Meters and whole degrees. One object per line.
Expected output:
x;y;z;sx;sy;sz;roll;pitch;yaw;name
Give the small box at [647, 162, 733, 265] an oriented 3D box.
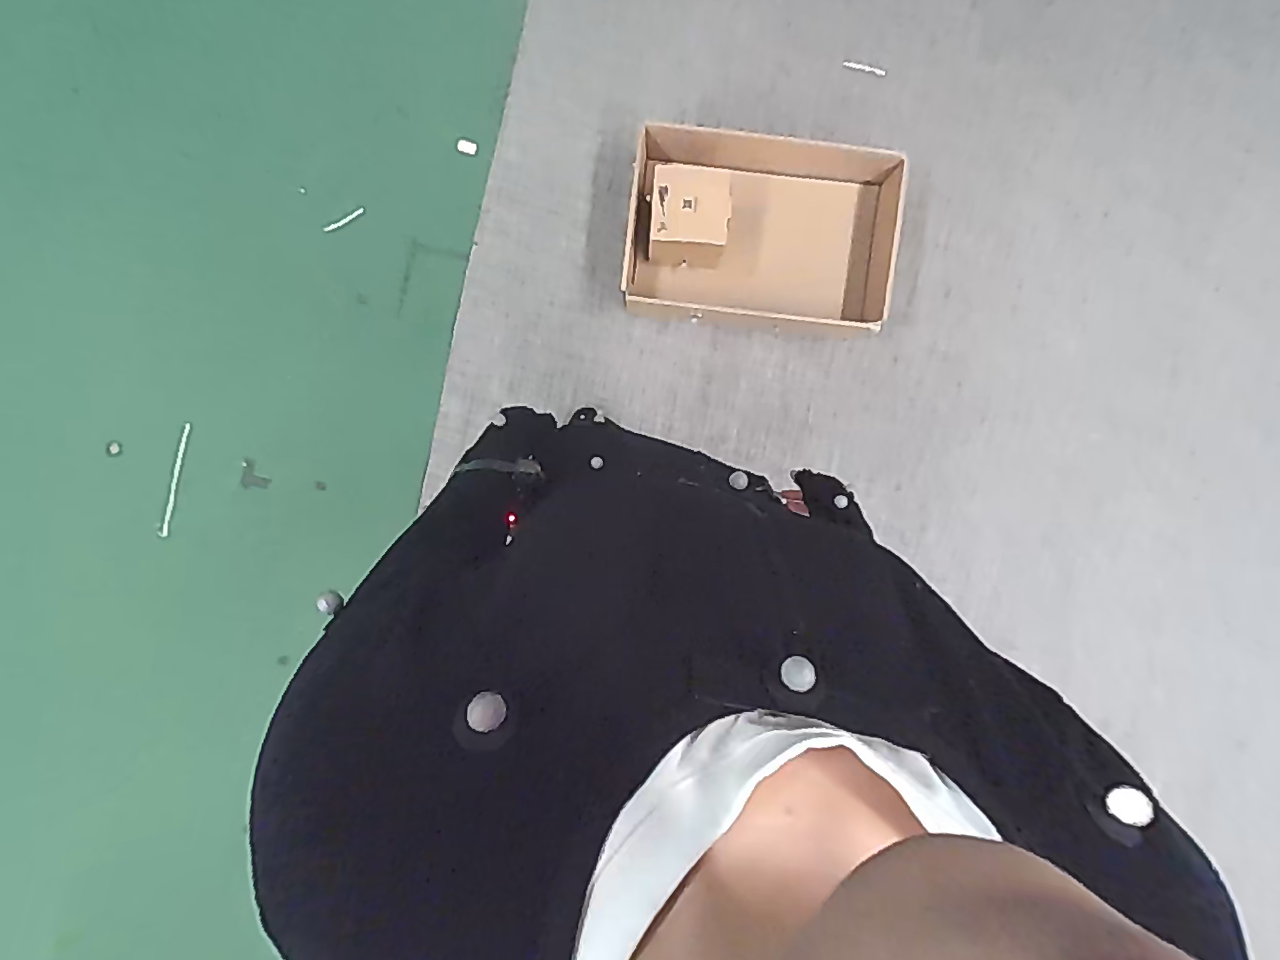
0.112;-0.623;1.285;0.179;0.176;0.168;4;93;-1;small box
